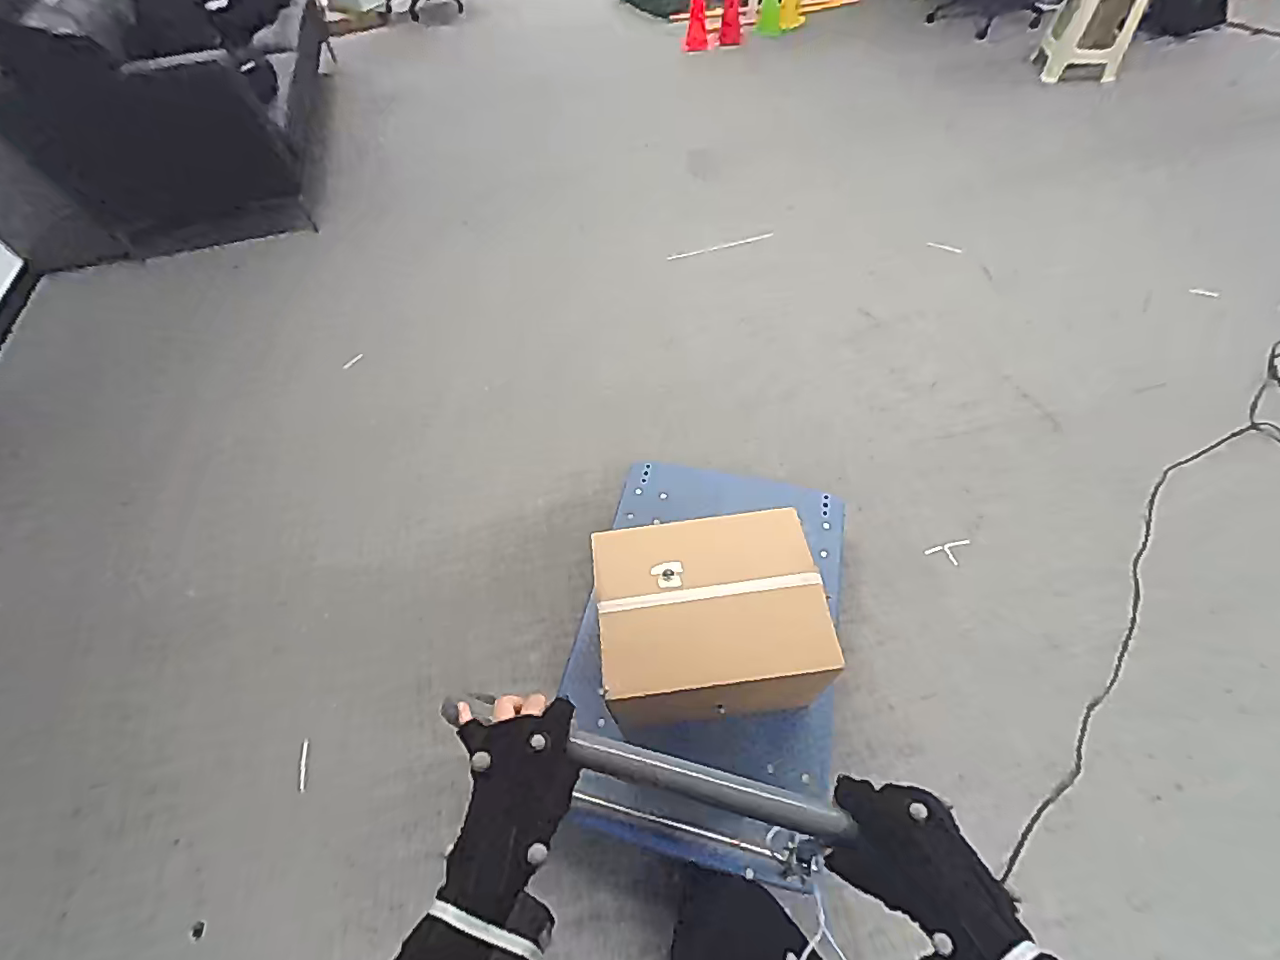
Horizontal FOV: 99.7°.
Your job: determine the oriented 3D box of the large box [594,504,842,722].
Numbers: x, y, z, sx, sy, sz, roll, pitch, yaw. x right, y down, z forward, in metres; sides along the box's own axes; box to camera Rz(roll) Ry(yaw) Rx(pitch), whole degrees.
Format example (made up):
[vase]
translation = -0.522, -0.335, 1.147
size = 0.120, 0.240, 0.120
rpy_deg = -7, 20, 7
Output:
[large box]
translation = 0.136, 0.281, 1.101
size = 0.408, 0.320, 0.320
rpy_deg = -8, 56, 0
